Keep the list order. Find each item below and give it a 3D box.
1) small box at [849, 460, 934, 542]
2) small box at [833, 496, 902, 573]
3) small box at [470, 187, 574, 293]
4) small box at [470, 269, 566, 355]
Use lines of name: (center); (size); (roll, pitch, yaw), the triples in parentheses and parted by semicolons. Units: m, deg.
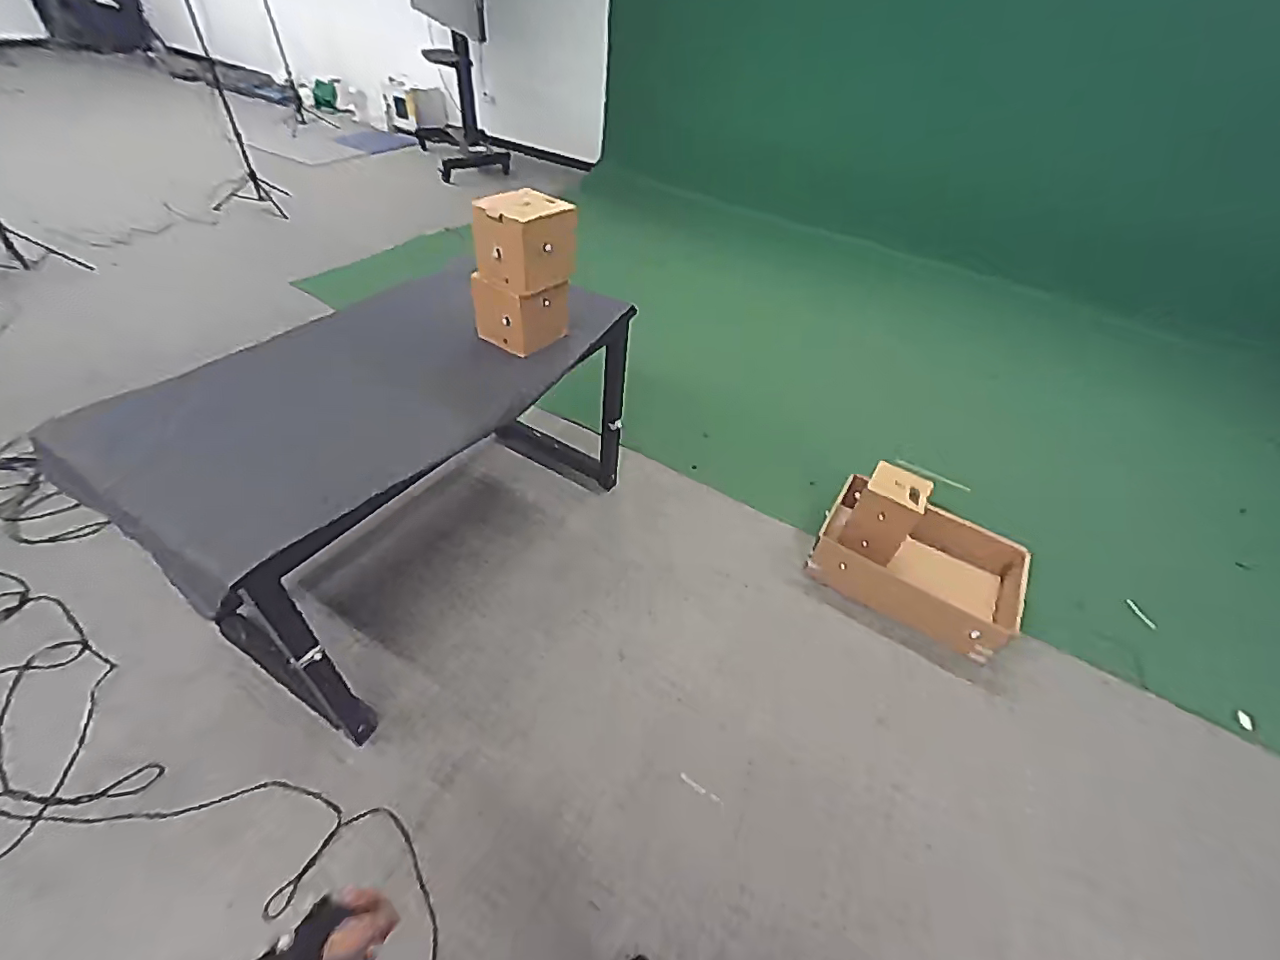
small box: (0.802, 0.074, 1.732); (0.179, 0.176, 0.168); (28, 48, 20)
small box: (0.788, 0.187, 1.850); (0.179, 0.176, 0.168); (28, 49, 19)
small box: (-0.267, -0.561, 1.266); (0.168, 0.176, 0.179); (31, 49, 23)
small box: (-0.302, -0.443, 1.377); (0.168, 0.176, 0.179); (29, 47, 21)
